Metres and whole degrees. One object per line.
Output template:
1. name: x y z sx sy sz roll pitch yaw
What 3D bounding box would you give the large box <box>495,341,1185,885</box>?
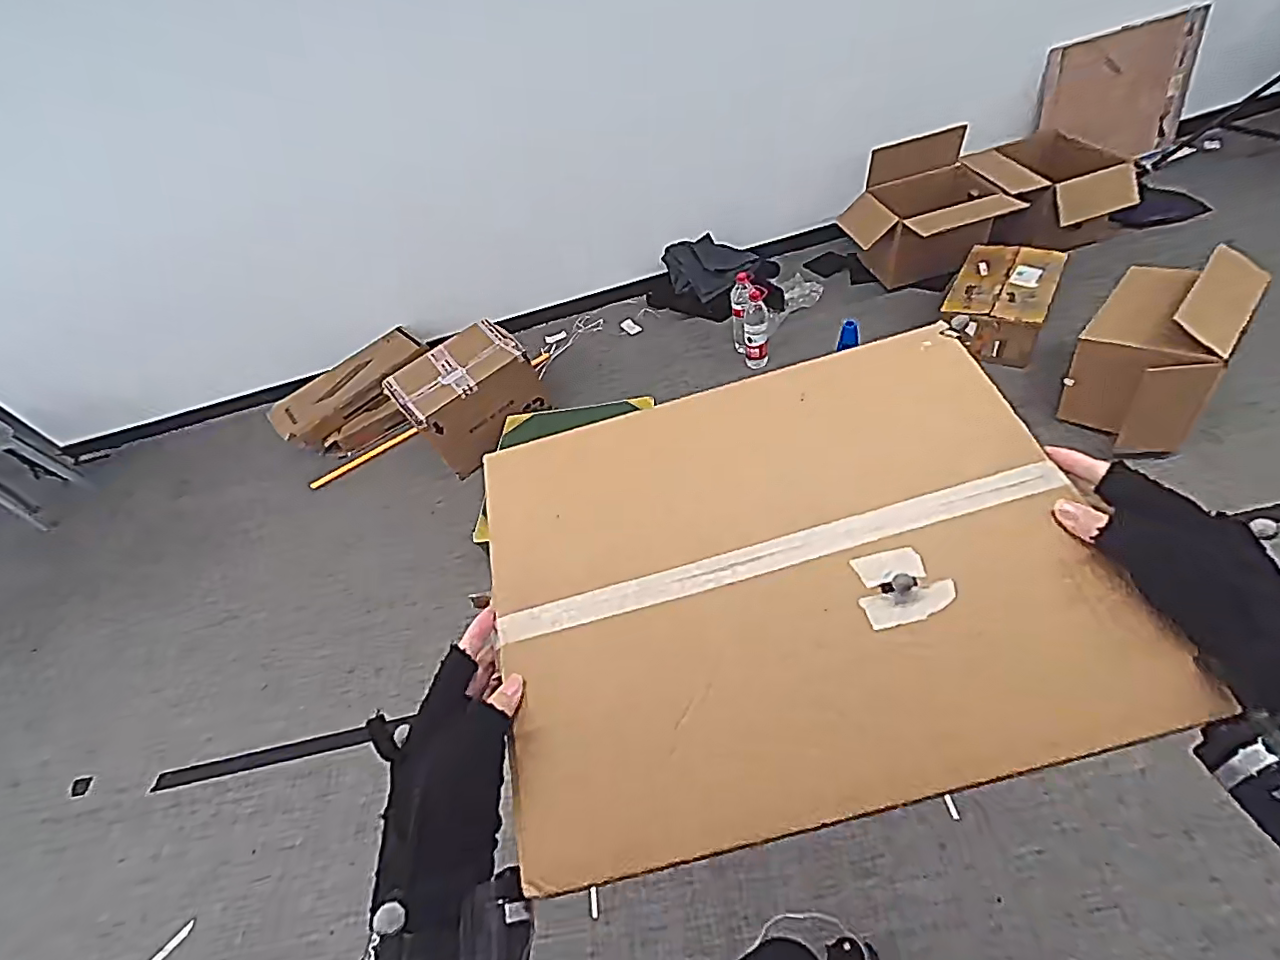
1. large box: 0.118 0.133 0.520 0.408 0.320 0.320 -16 59 1
